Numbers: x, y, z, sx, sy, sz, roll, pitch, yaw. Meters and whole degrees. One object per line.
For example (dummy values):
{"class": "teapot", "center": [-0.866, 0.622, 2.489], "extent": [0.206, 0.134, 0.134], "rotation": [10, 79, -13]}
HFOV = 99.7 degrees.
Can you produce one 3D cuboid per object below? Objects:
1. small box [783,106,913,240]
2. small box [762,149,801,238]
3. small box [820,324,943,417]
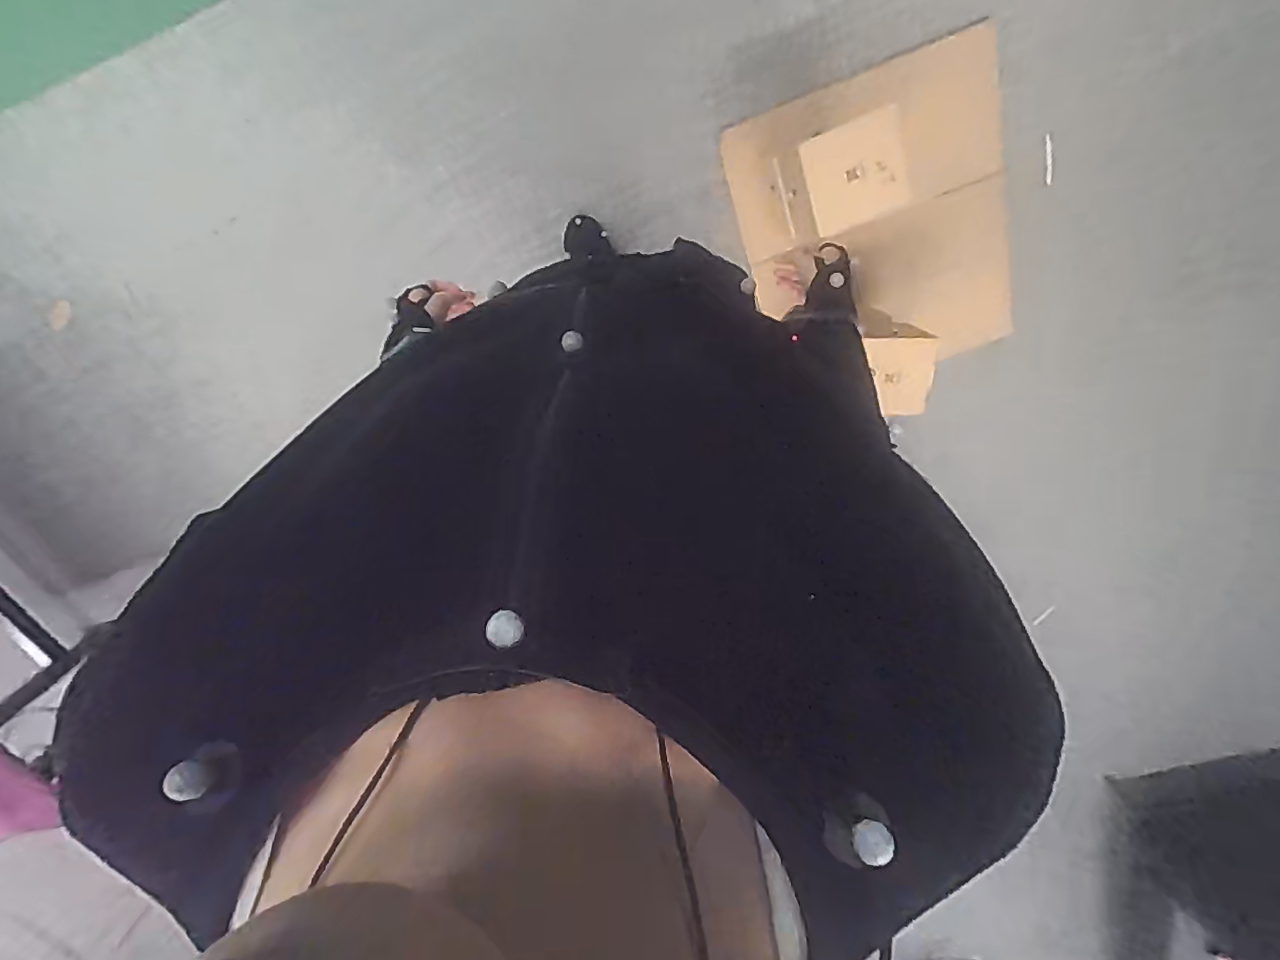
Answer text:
{"class": "small box", "center": [0.385, -0.573, 1.029], "extent": [0.179, 0.176, 0.168], "rotation": [-20, 116, 8]}
{"class": "small box", "center": [0.377, -0.642, 1.179], "extent": [0.179, 0.176, 0.168], "rotation": [-20, 115, 8]}
{"class": "small box", "center": [0.521, -0.245, 1.191], "extent": [0.179, 0.176, 0.168], "rotation": [0, 117, -1]}
